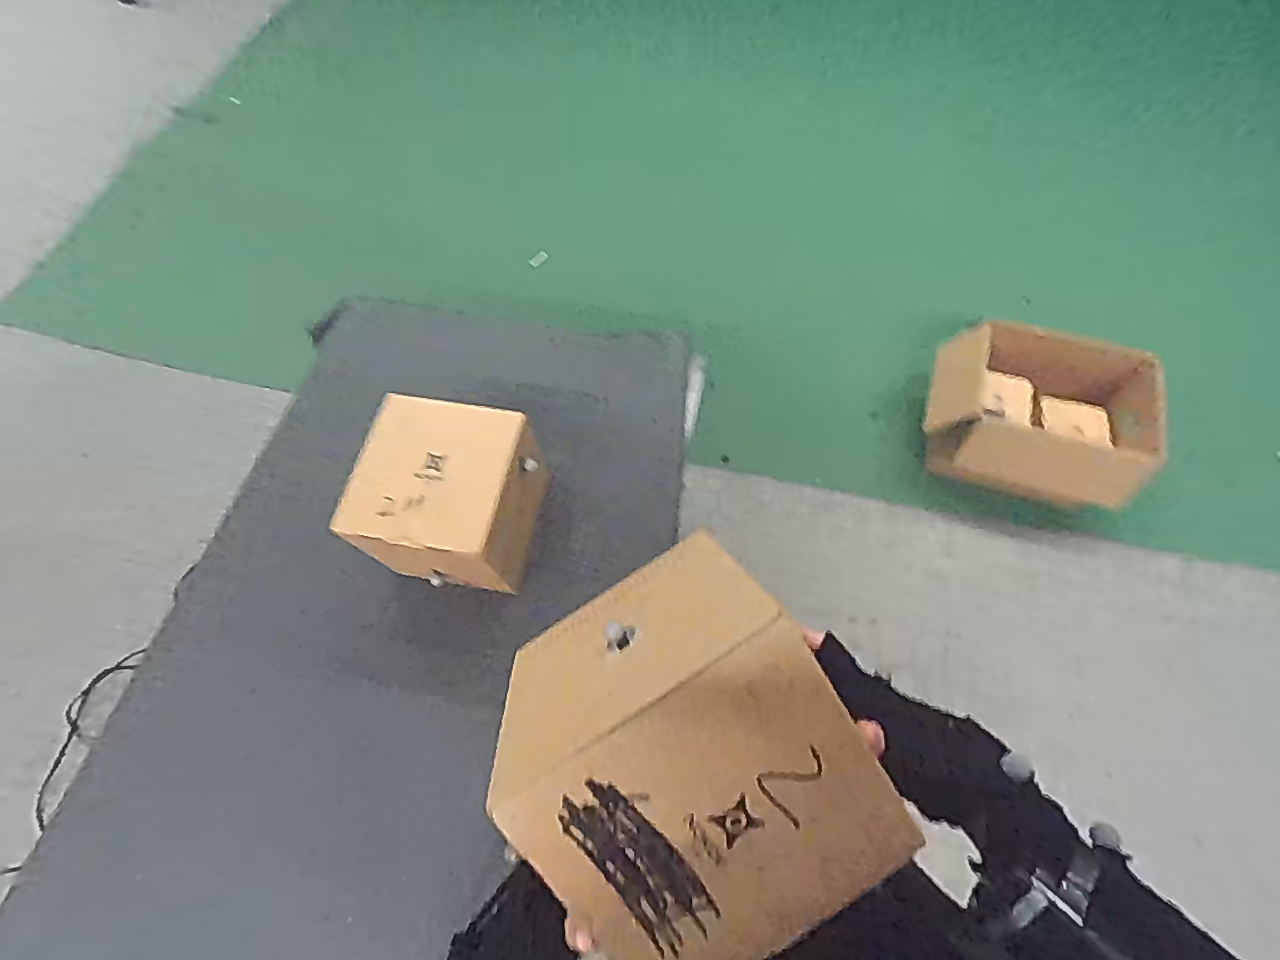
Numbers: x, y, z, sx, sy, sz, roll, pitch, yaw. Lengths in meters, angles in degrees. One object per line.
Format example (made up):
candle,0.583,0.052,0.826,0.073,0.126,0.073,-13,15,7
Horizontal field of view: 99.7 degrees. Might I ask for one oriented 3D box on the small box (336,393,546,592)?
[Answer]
small box,-0.222,0.022,0.663,0.168,0.176,0.179,9,66,6
